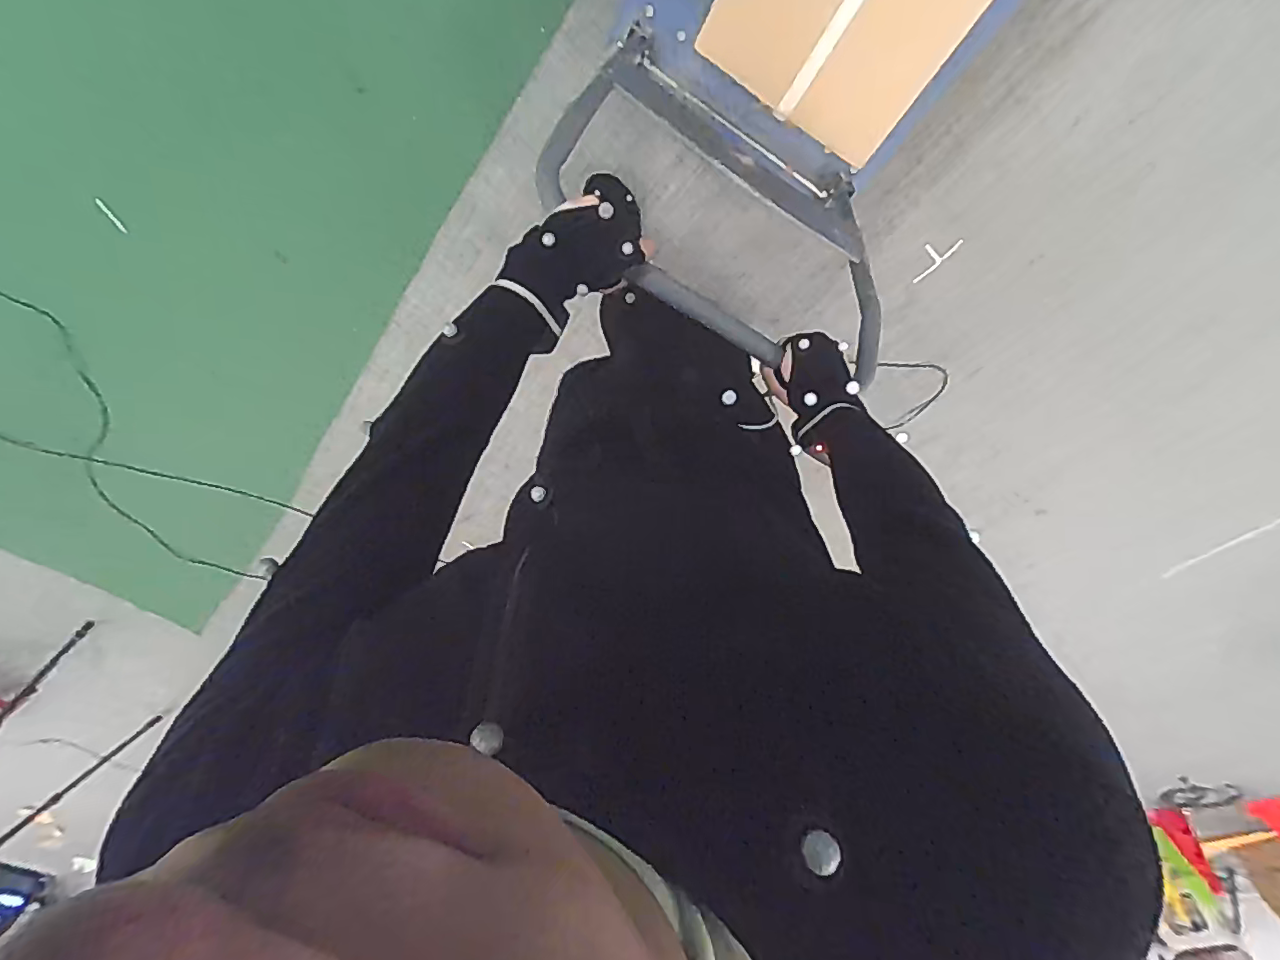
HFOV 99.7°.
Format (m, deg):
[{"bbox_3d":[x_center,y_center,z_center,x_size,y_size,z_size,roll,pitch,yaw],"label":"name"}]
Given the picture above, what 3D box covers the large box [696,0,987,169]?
[{"bbox_3d":[0.321,-0.769,0.793,0.320,0.320,0.408,26,133,-16],"label":"large box"}]
